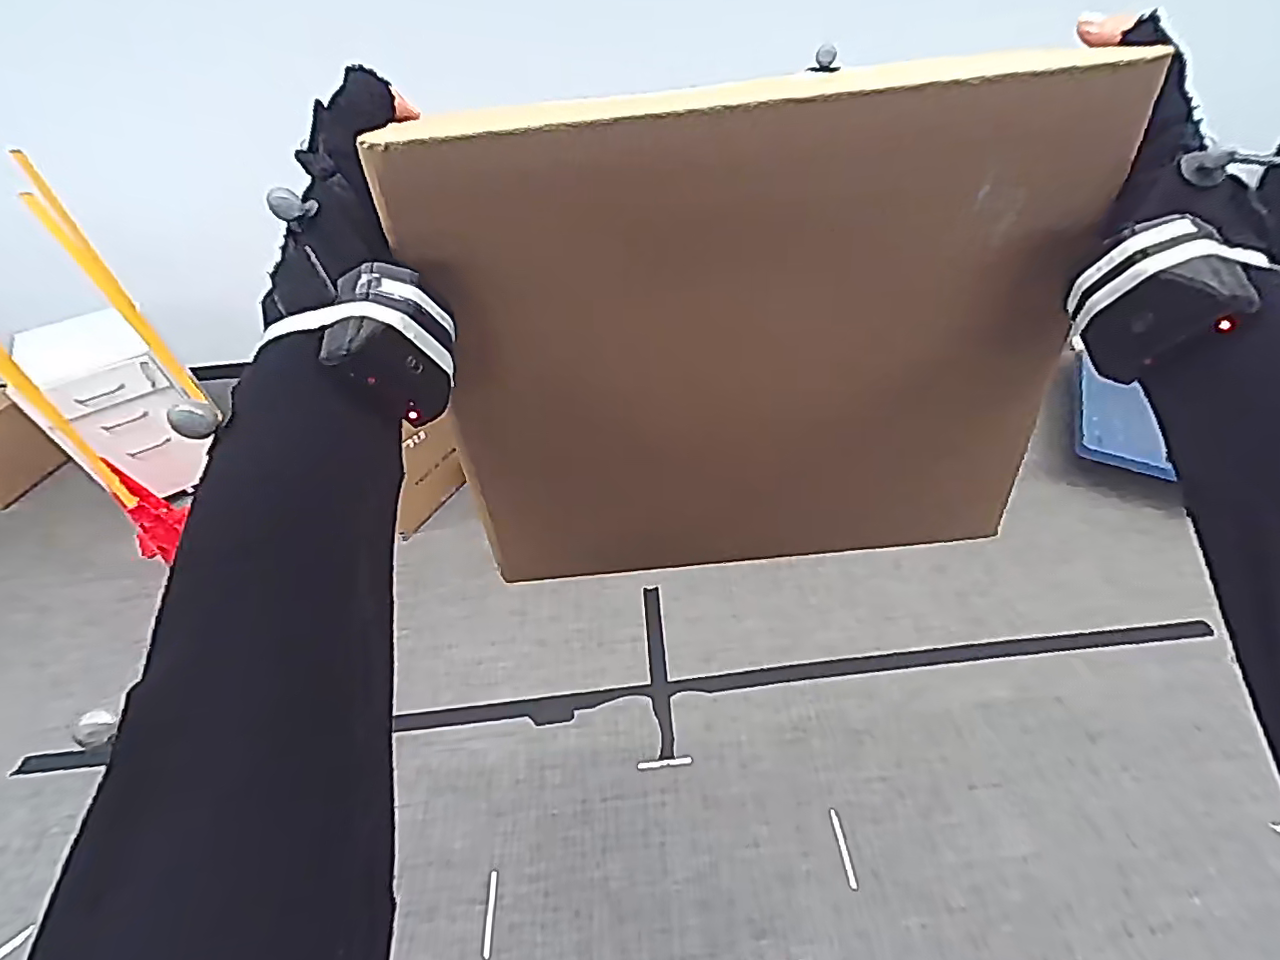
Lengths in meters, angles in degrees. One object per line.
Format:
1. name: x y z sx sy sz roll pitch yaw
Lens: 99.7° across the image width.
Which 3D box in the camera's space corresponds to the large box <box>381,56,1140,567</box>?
1. large box: 0.064 -0.151 0.481 0.408 0.320 0.320 -5 35 0
